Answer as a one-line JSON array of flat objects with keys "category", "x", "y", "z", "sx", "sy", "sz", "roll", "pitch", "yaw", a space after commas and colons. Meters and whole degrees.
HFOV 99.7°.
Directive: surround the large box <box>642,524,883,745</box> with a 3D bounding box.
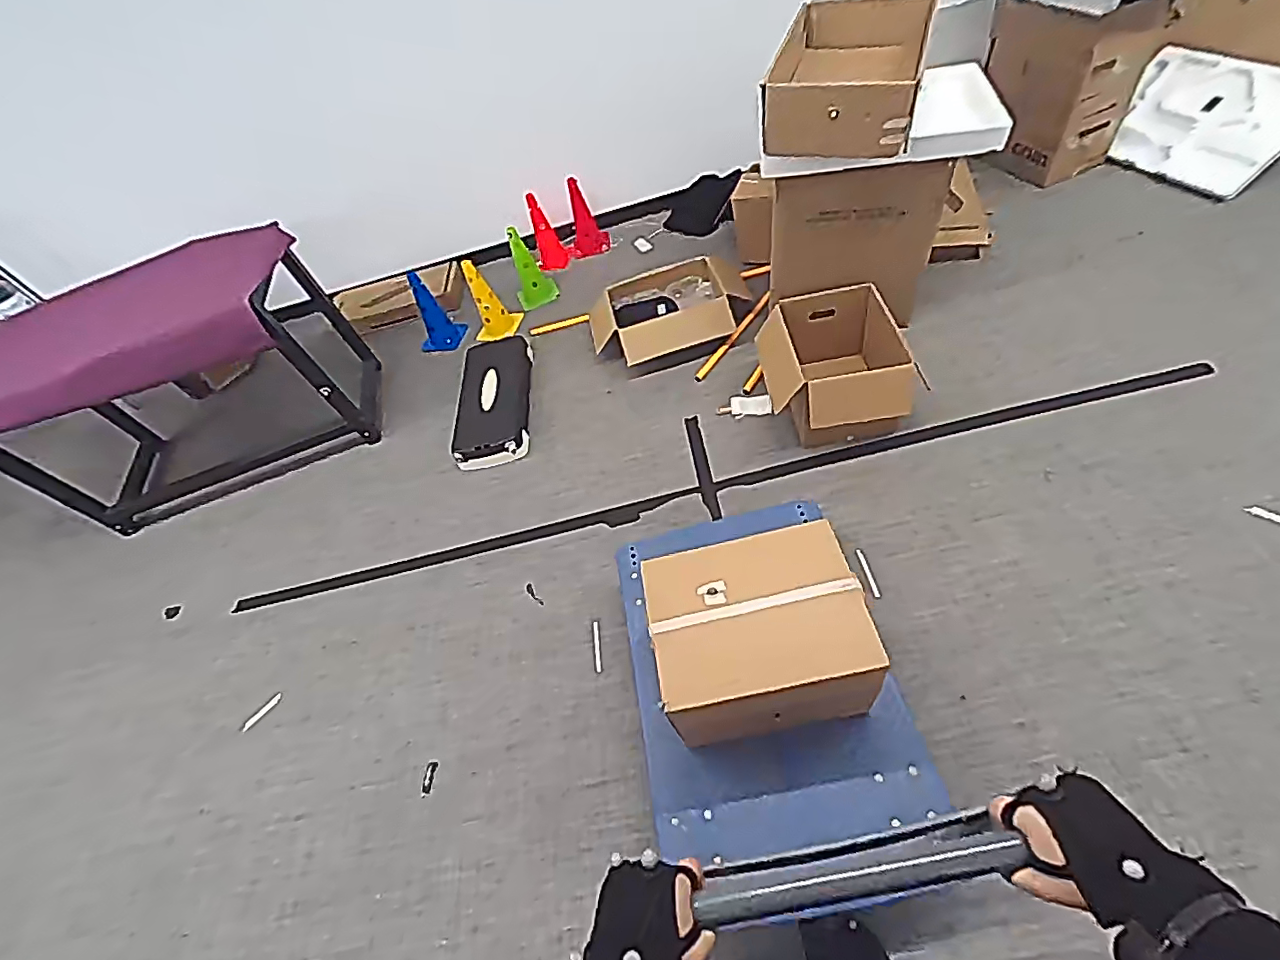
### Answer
[{"category": "large box", "x": 0.250, "y": 0.345, "z": 1.171, "sx": 0.408, "sy": 0.320, "sz": 0.320, "roll": -15, "pitch": 50, "yaw": 5}]
